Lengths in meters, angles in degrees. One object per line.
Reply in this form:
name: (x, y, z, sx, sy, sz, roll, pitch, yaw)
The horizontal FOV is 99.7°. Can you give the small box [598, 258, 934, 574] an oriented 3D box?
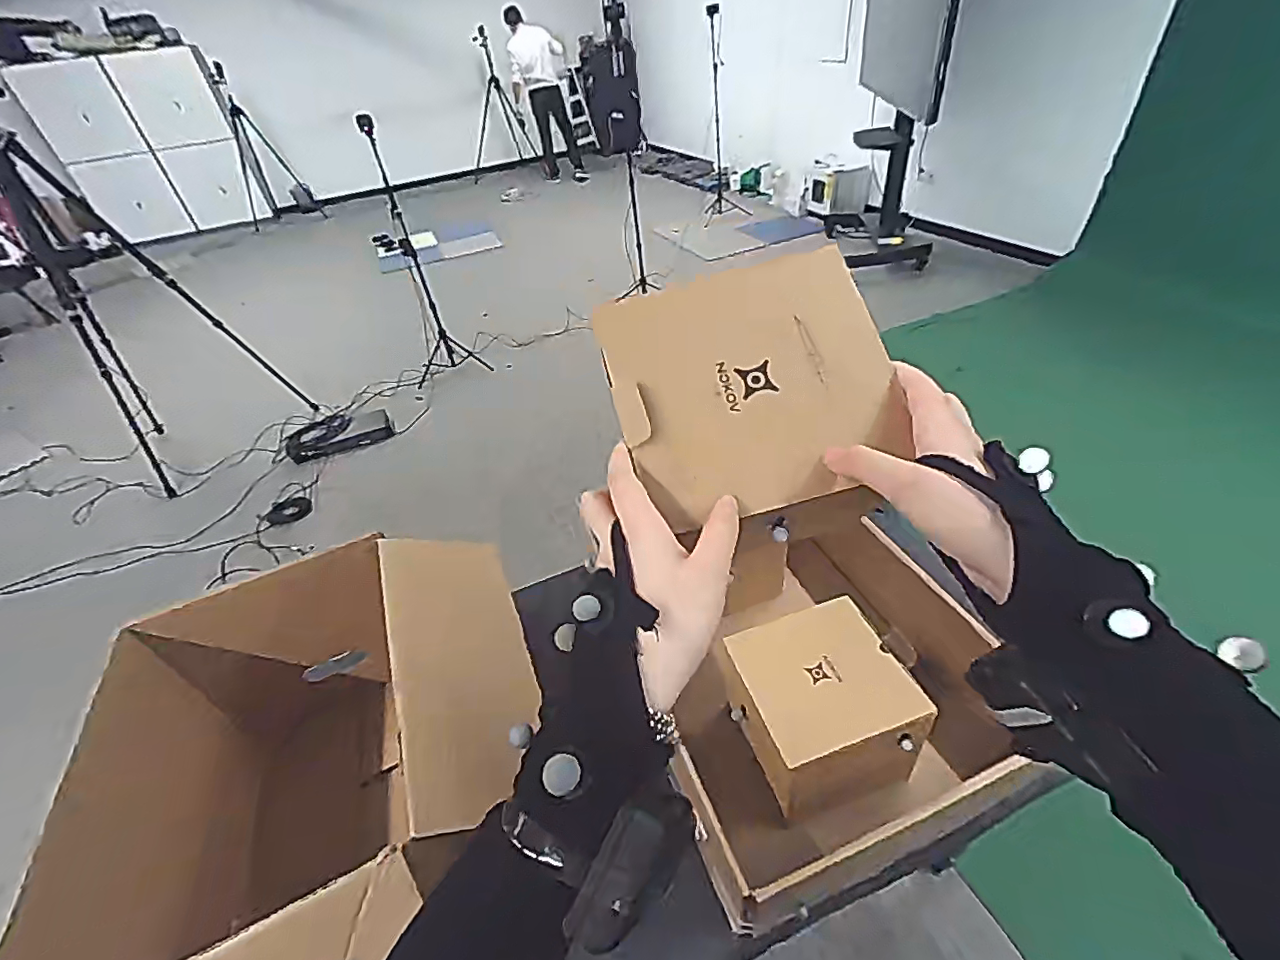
small box: (0.079, -0.032, 0.420, 0.179, 0.176, 0.168, -15, 74, -1)
